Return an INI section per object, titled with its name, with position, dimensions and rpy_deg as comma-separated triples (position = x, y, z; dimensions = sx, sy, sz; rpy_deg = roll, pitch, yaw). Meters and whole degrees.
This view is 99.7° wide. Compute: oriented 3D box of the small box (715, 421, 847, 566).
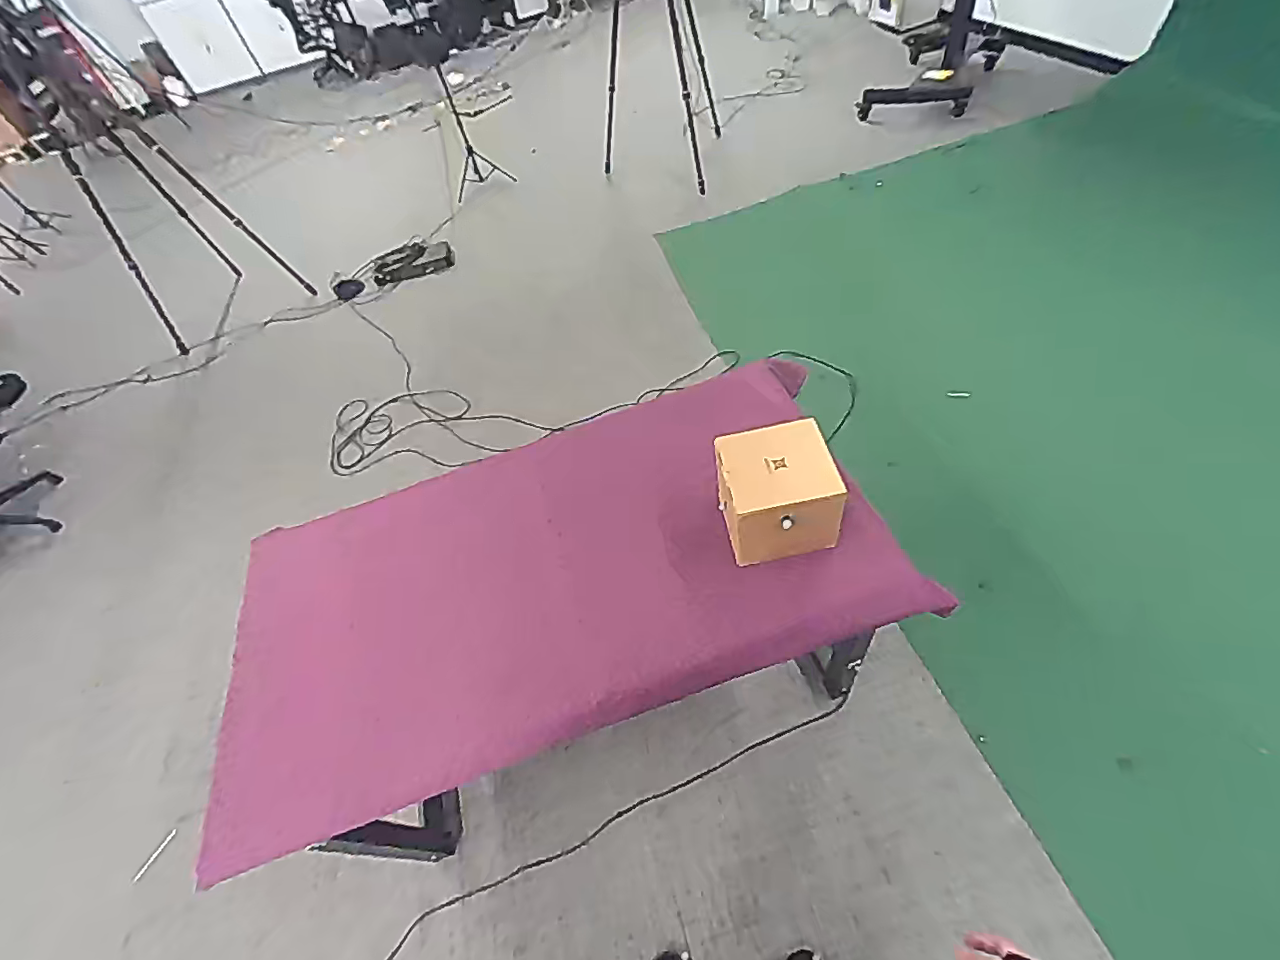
[small box]
position = 0.235, 0.028, 0.935
dimensions = 0.179, 0.176, 0.168
rpy_deg = -13, 52, 5
